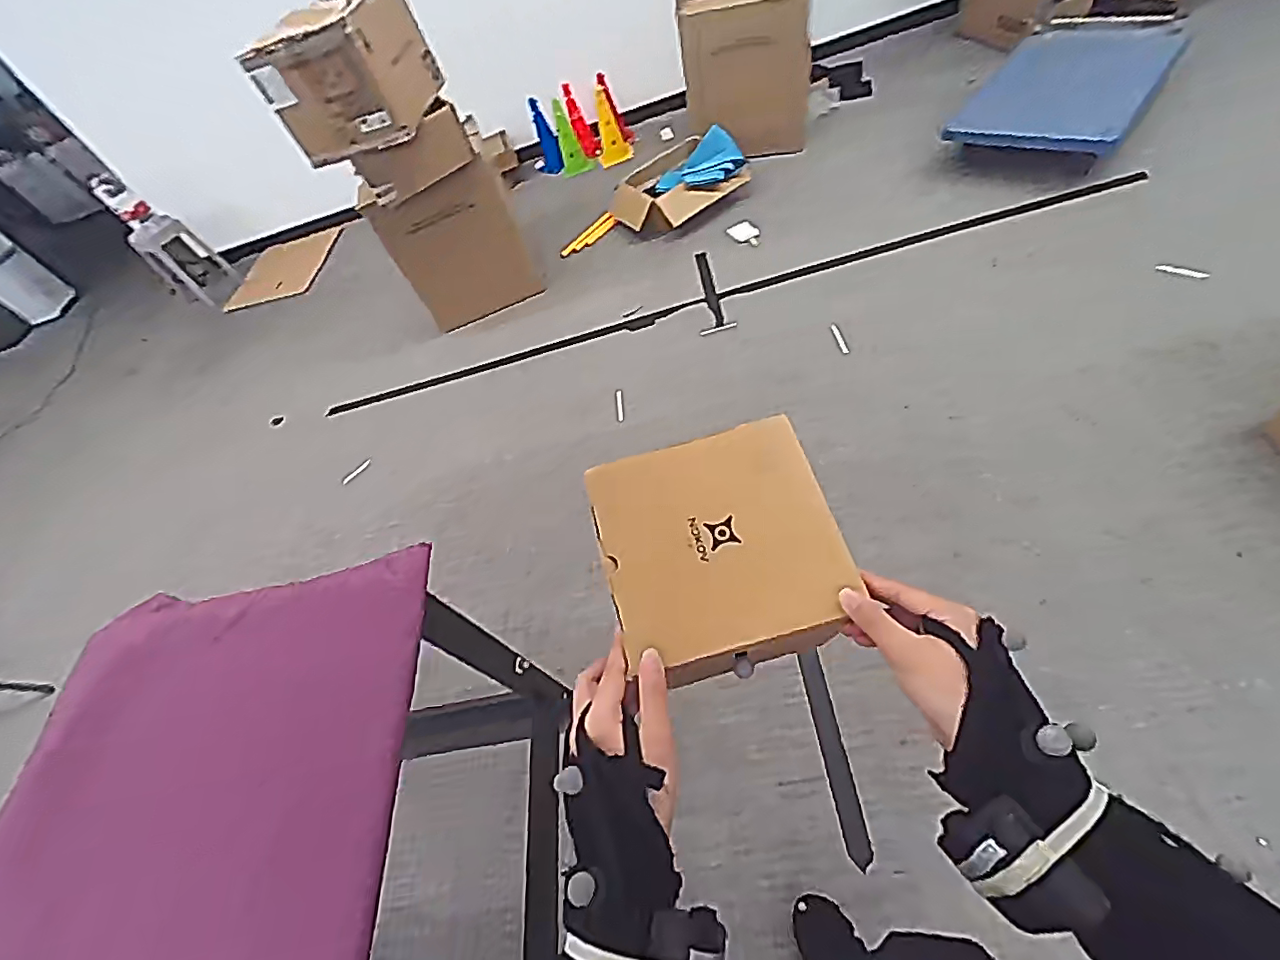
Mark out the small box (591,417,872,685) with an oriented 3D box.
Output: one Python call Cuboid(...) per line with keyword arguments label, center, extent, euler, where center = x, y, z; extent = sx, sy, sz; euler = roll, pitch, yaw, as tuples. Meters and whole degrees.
Cuboid(label="small box", center=(0.069, 0.073, 0.481), extent=(0.179, 0.176, 0.168), euler=(-16, 64, 0))
